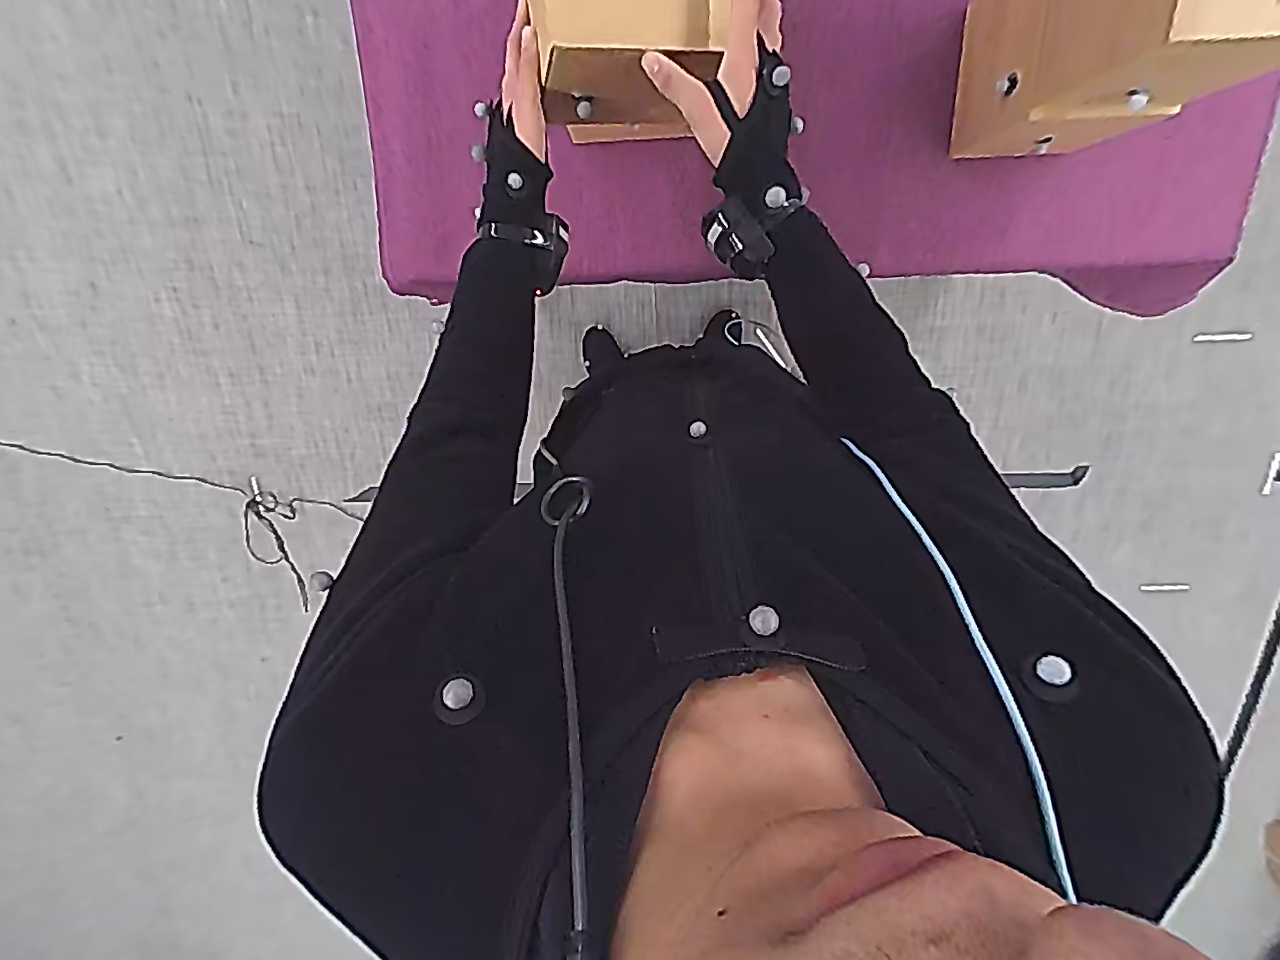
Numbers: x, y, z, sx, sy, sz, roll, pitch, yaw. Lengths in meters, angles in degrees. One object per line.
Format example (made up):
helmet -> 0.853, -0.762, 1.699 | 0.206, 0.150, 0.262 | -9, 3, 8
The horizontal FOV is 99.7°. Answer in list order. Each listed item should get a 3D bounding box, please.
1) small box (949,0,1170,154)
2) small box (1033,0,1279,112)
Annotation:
small box -> 0.503, -0.507, 0.650 | 0.168, 0.176, 0.179 | -2, 108, 0
small box -> 0.503, -0.464, 0.491 | 0.168, 0.176, 0.179 | -1, 109, 1
